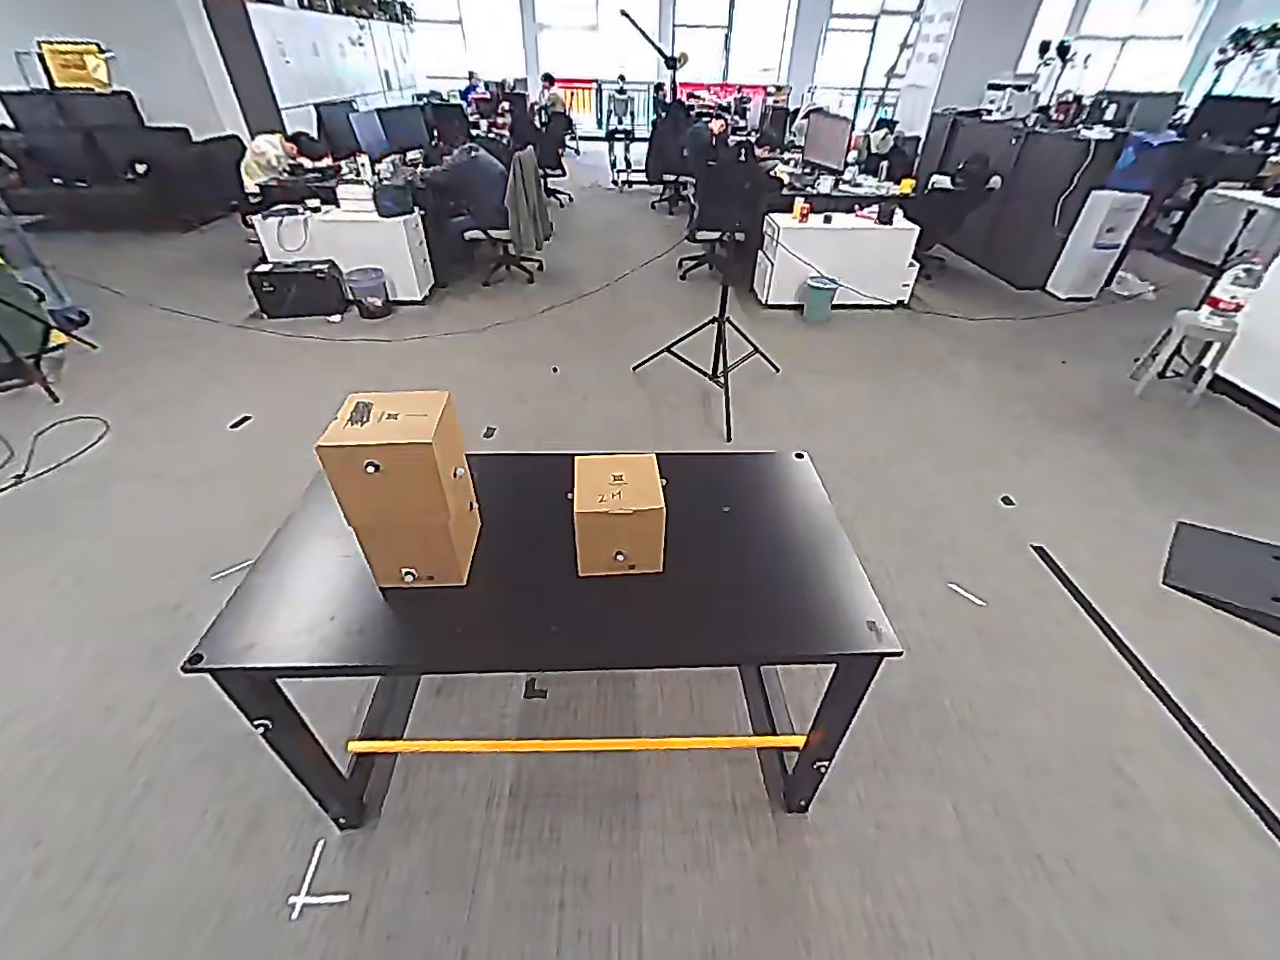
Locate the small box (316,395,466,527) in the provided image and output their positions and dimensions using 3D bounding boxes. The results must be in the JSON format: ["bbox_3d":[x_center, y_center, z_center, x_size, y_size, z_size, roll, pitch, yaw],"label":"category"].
[{"bbox_3d":[-0.417,-0.032,0.941,0.179,0.176,0.168,-3,38,-5],"label":"small box"}]

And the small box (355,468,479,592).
[{"bbox_3d":[-0.417,0.094,1.047,0.168,0.176,0.179,-3,39,-3],"label":"small box"}]

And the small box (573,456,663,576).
[{"bbox_3d":[-0.047,0.070,1.083,0.168,0.176,0.179,-3,38,-4],"label":"small box"}]
